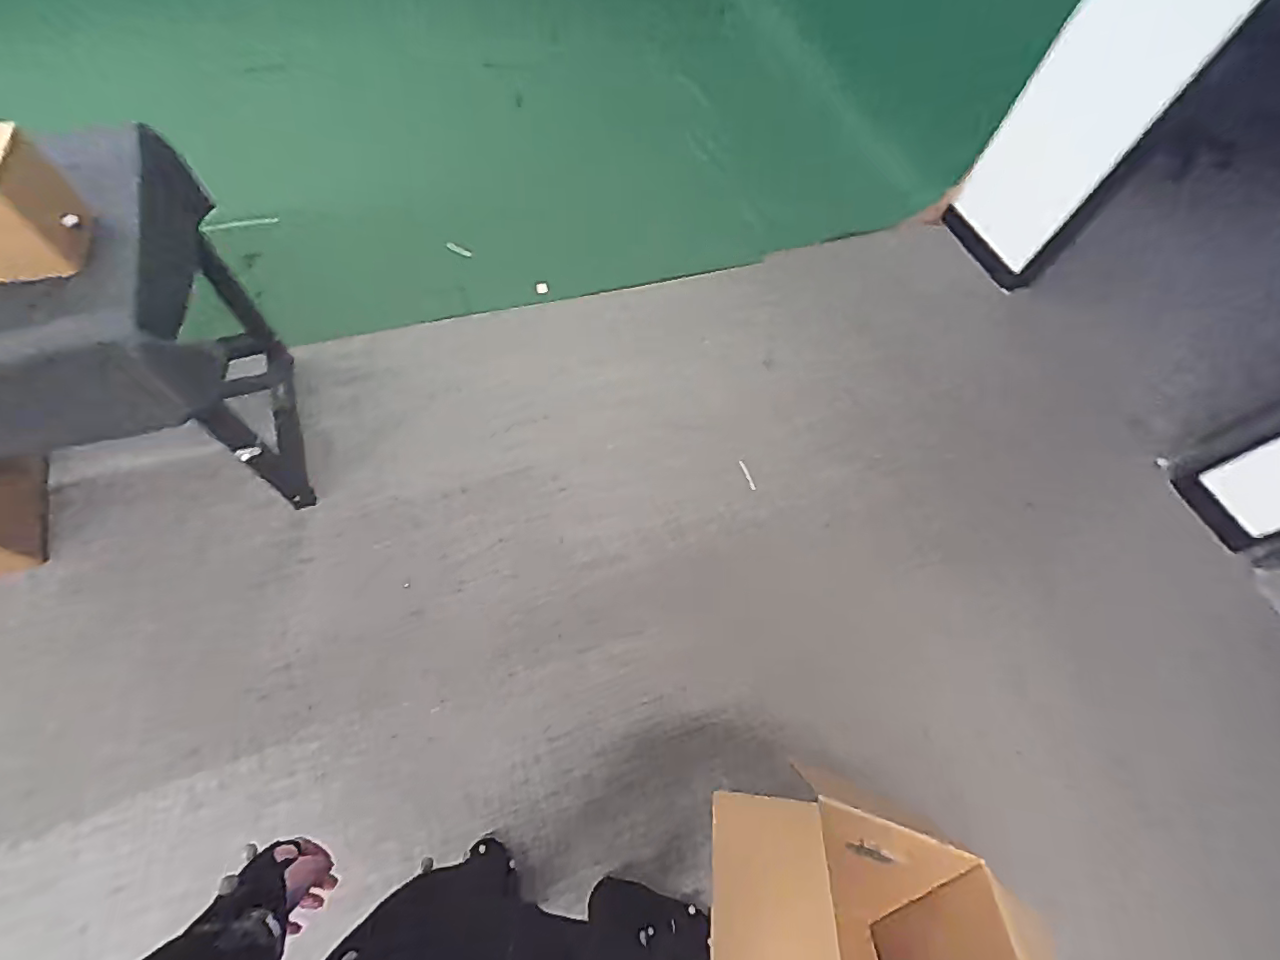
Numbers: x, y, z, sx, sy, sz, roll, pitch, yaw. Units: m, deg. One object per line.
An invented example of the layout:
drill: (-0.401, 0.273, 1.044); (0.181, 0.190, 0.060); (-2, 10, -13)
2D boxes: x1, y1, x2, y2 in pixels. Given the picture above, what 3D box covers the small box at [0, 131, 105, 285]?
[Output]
small box: (-1.072, -0.449, 0.906); (0.179, 0.176, 0.168); (-10, 64, -11)
